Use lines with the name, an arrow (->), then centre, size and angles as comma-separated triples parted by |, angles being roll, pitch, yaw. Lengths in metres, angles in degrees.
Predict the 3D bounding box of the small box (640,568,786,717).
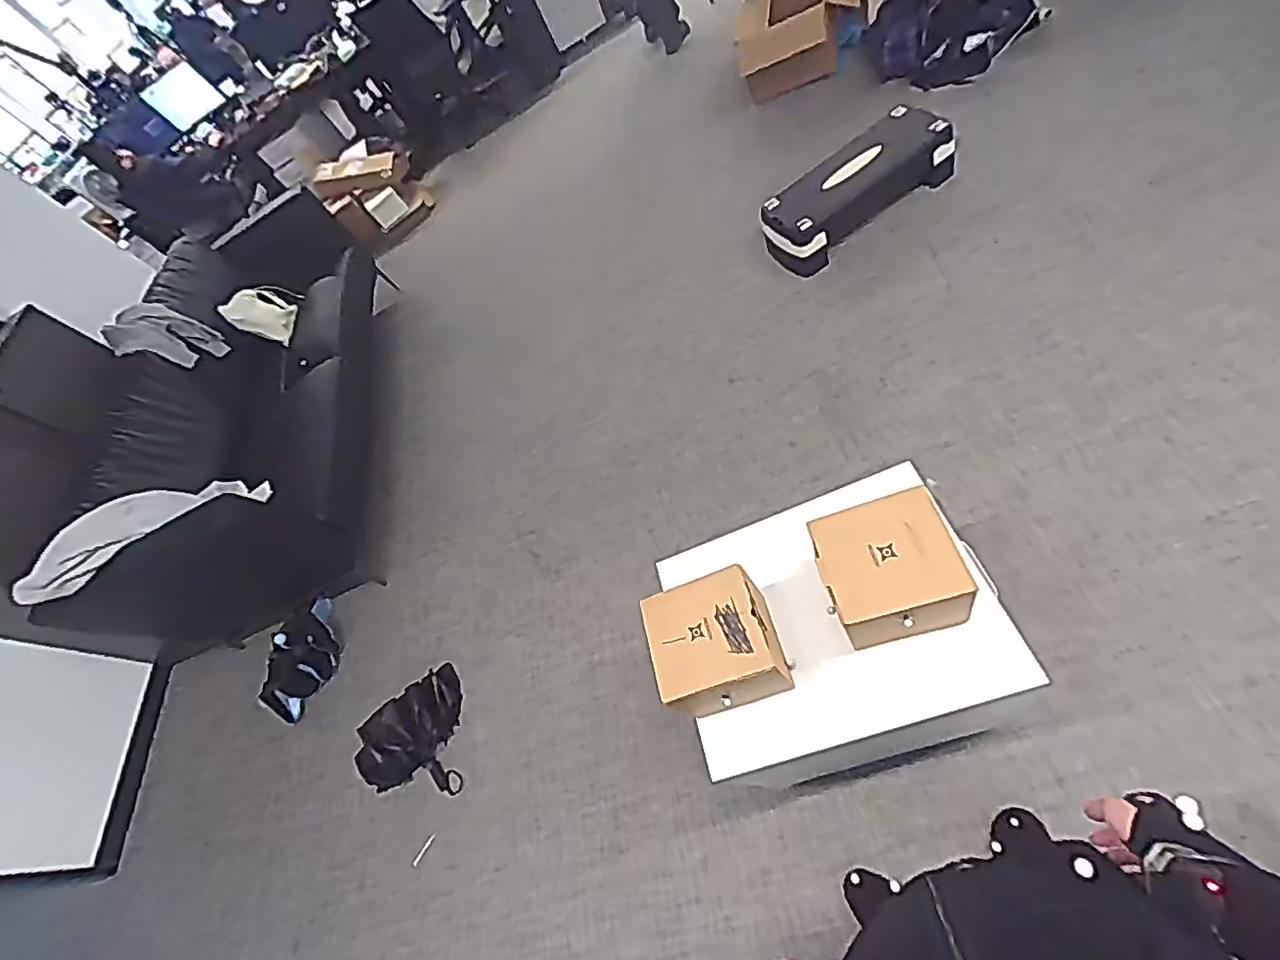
small box -> 0.123, 0.268, 0.871 | 0.179, 0.176, 0.168 | -24, 53, 13

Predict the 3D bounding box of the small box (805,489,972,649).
small box -> 0.371, 0.144, 0.820 | 0.179, 0.176, 0.168 | -20, 56, 15
